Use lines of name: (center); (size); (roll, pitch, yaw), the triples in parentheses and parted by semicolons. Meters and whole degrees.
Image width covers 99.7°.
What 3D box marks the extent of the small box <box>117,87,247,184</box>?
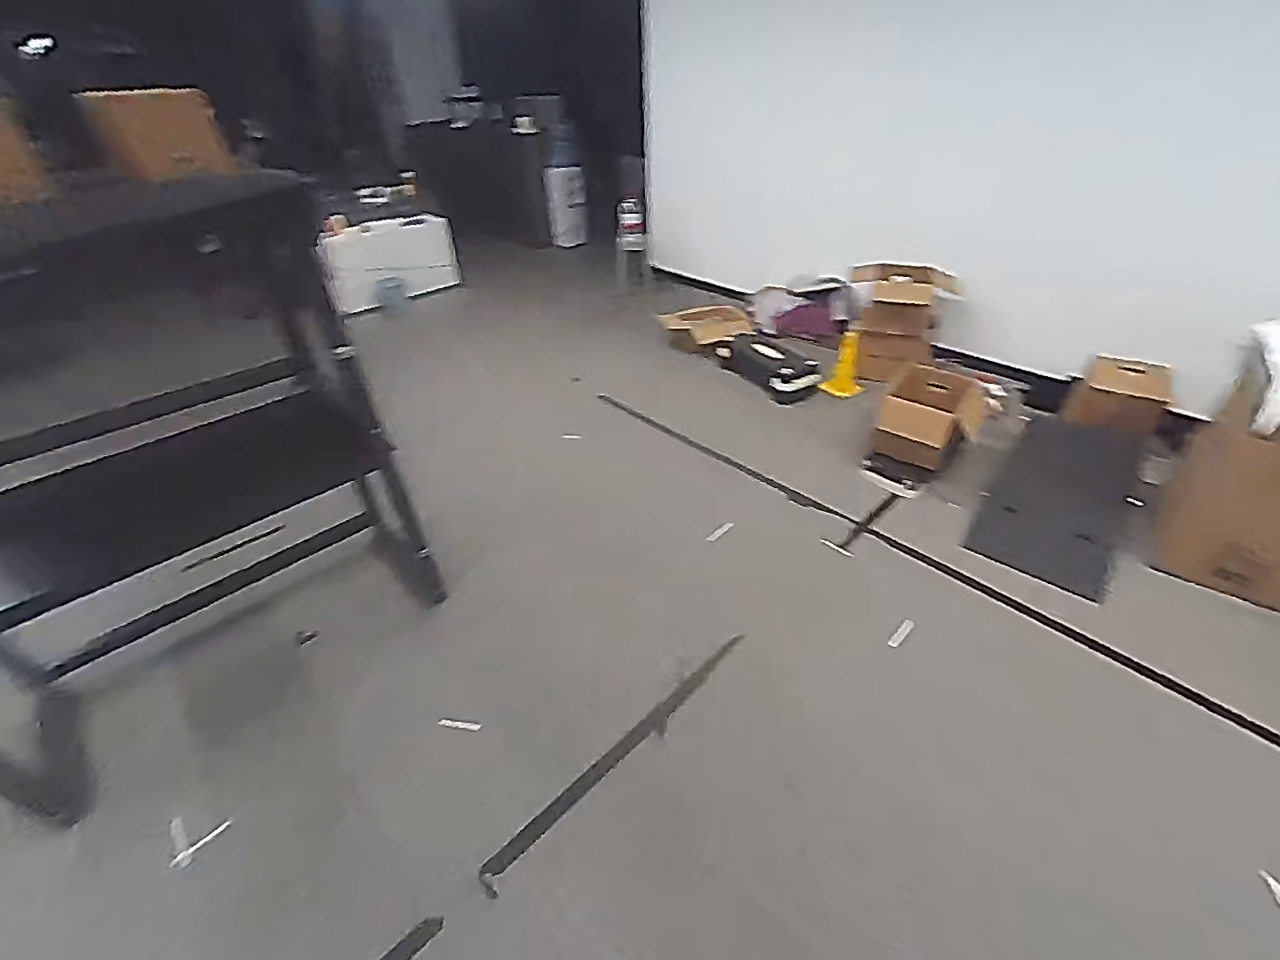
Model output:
small box: (-1.016, -0.772, 1.210); (0.168, 0.176, 0.179); (-25, 44, -26)

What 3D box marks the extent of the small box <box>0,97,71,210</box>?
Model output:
small box: (-1.261, -0.633, 1.048); (0.179, 0.176, 0.168); (-31, 46, -31)
